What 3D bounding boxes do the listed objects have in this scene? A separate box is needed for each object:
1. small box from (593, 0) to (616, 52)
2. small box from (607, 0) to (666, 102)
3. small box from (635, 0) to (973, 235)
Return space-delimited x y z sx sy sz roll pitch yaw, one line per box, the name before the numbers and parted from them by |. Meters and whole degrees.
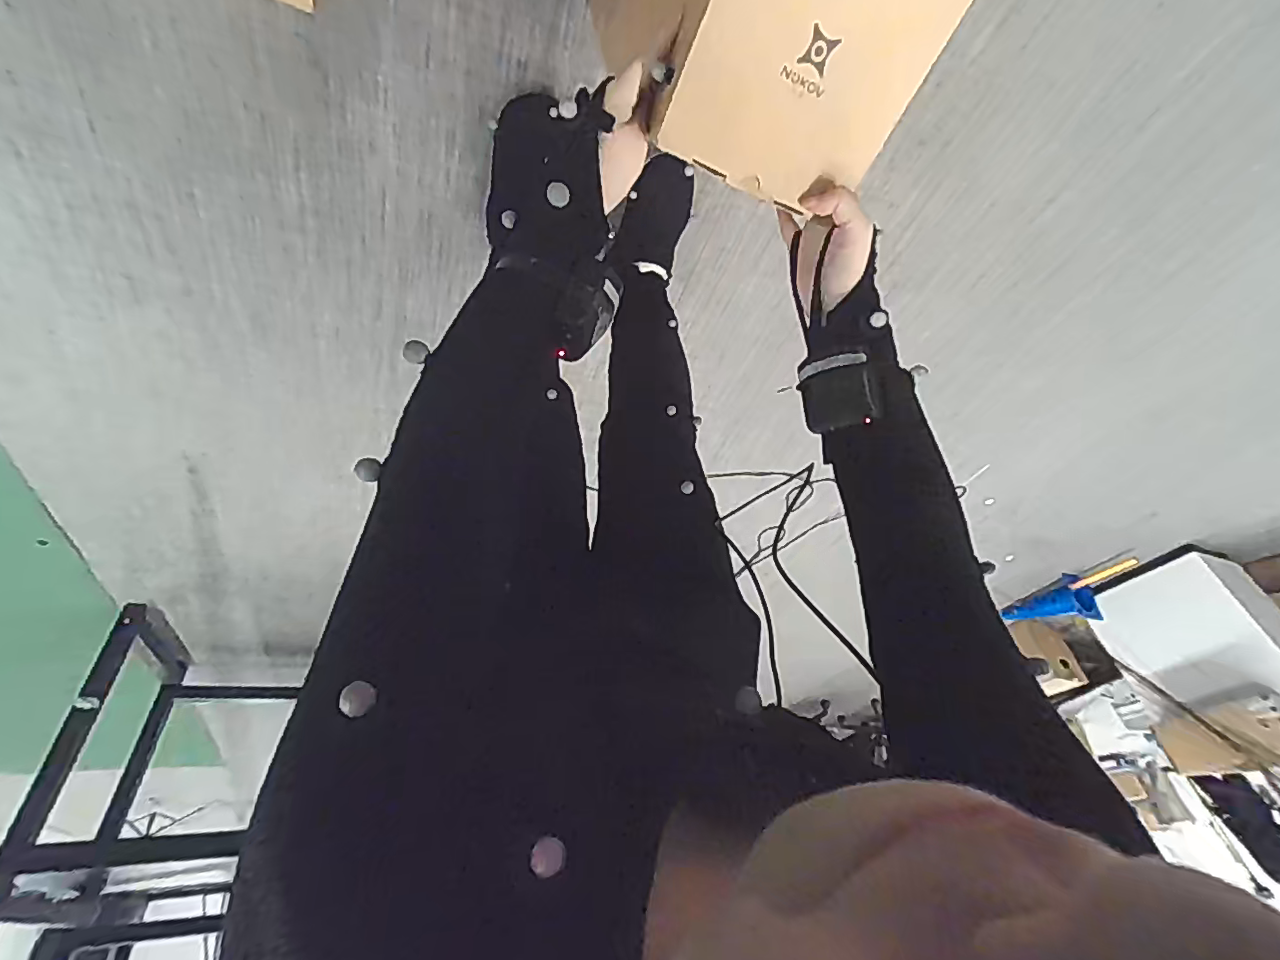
small box | 0.048 -0.612 0.665 0.168 0.176 0.179 13 138 -25
small box | 0.071 -0.486 0.562 0.168 0.176 0.179 12 137 -23
small box | 0.106 -0.335 0.430 0.168 0.176 0.179 12 129 -22
